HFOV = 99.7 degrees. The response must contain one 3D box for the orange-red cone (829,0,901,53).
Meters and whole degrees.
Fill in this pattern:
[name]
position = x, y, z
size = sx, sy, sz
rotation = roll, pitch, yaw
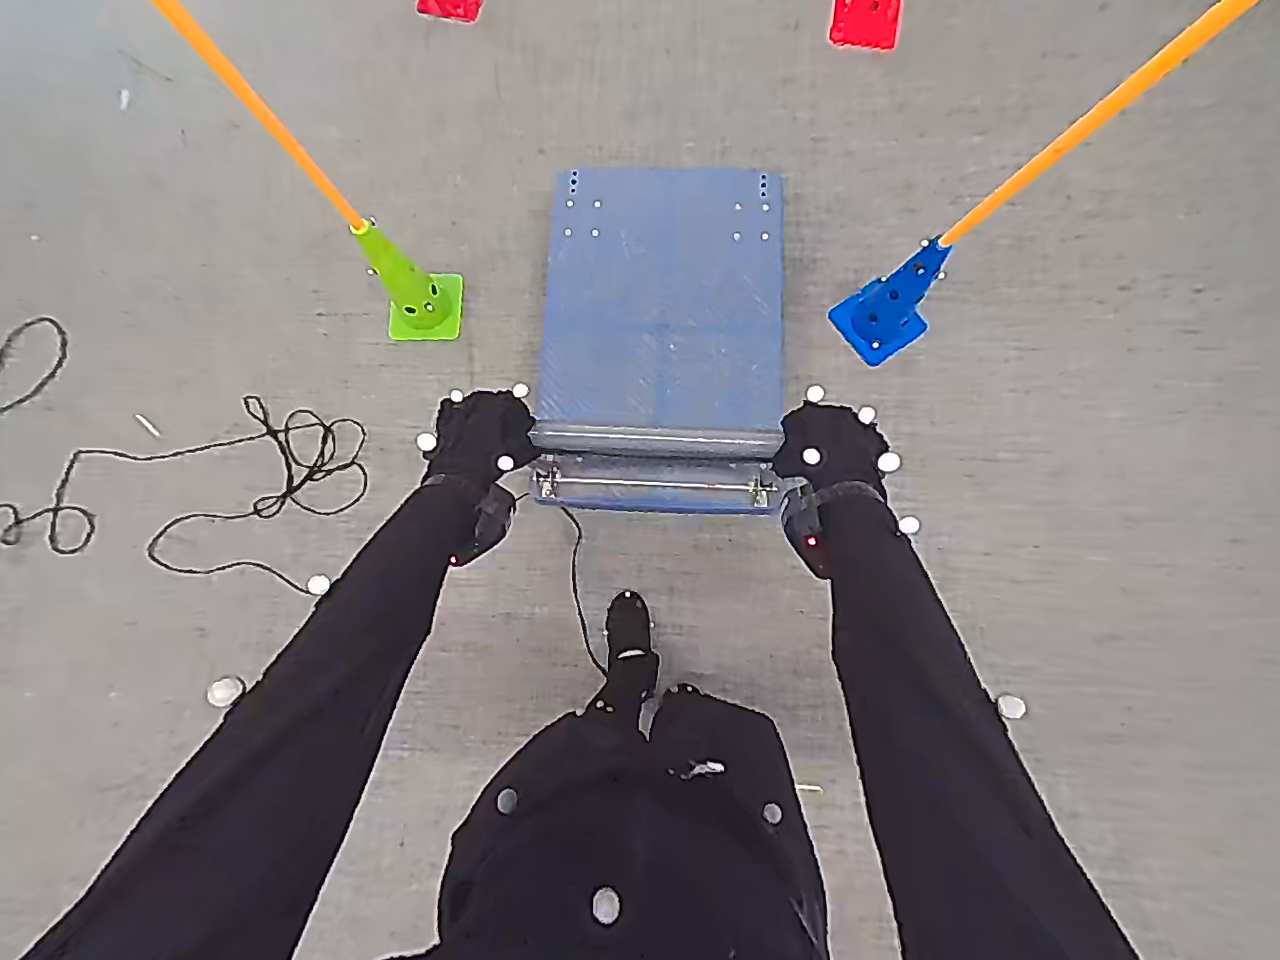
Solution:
[orange-red cone]
position = 0.679, -1.423, 1.481
size = 0.198, 0.360, 0.199
rotation = 12, 81, 5
